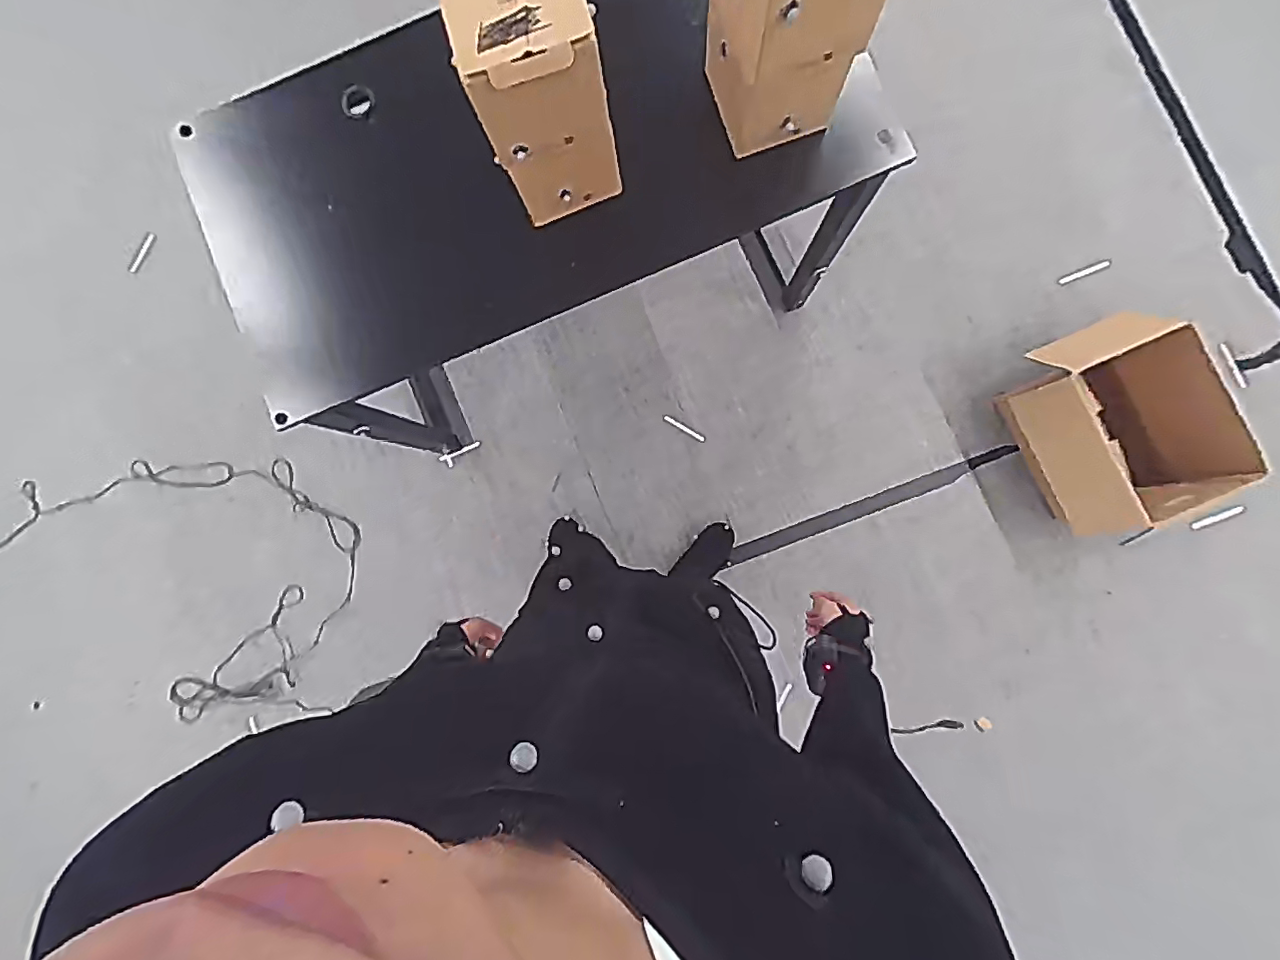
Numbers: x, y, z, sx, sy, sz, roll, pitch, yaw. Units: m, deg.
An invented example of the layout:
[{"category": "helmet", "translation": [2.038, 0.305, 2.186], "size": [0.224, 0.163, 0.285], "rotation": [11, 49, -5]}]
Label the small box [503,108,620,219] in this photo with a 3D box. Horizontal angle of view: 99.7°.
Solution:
[{"category": "small box", "translation": [-0.140, -0.560, 0.861], "size": [0.168, 0.176, 0.179], "rotation": [-22, 87, 2]}]

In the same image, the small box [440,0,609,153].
[{"category": "small box", "translation": [-0.144, -0.559, 0.696], "size": [0.168, 0.176, 0.179], "rotation": [-16, 86, 2]}]

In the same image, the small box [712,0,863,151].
[{"category": "small box", "translation": [0.215, -0.664, 0.842], "size": [0.168, 0.176, 0.179], "rotation": [-17, 87, 4]}]
